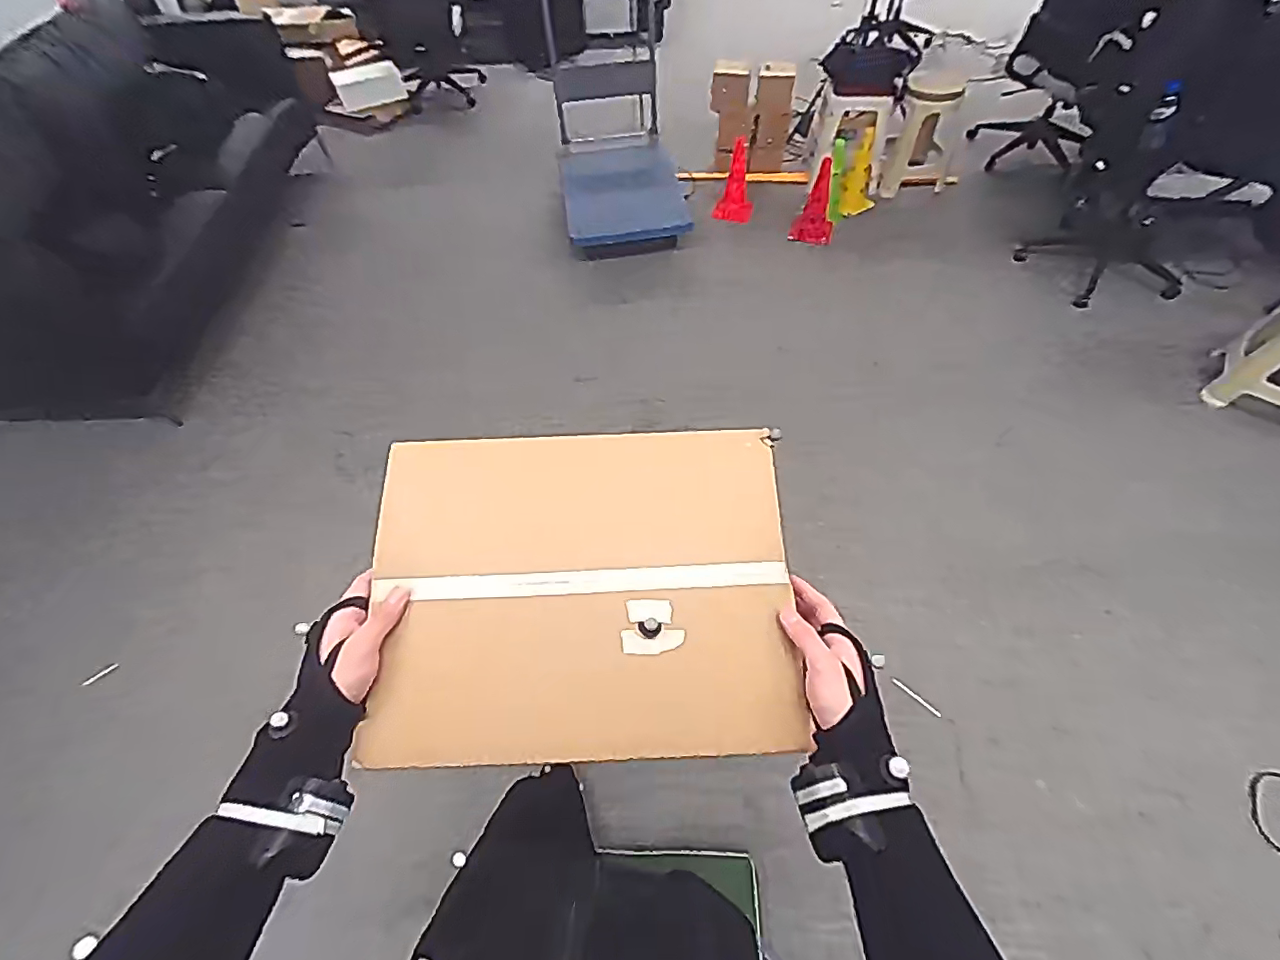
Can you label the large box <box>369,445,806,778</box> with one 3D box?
[{"bbox_3d":[-0.054,0.167,0.677,0.408,0.320,0.320,-2,69,-1],"label":"large box"}]
